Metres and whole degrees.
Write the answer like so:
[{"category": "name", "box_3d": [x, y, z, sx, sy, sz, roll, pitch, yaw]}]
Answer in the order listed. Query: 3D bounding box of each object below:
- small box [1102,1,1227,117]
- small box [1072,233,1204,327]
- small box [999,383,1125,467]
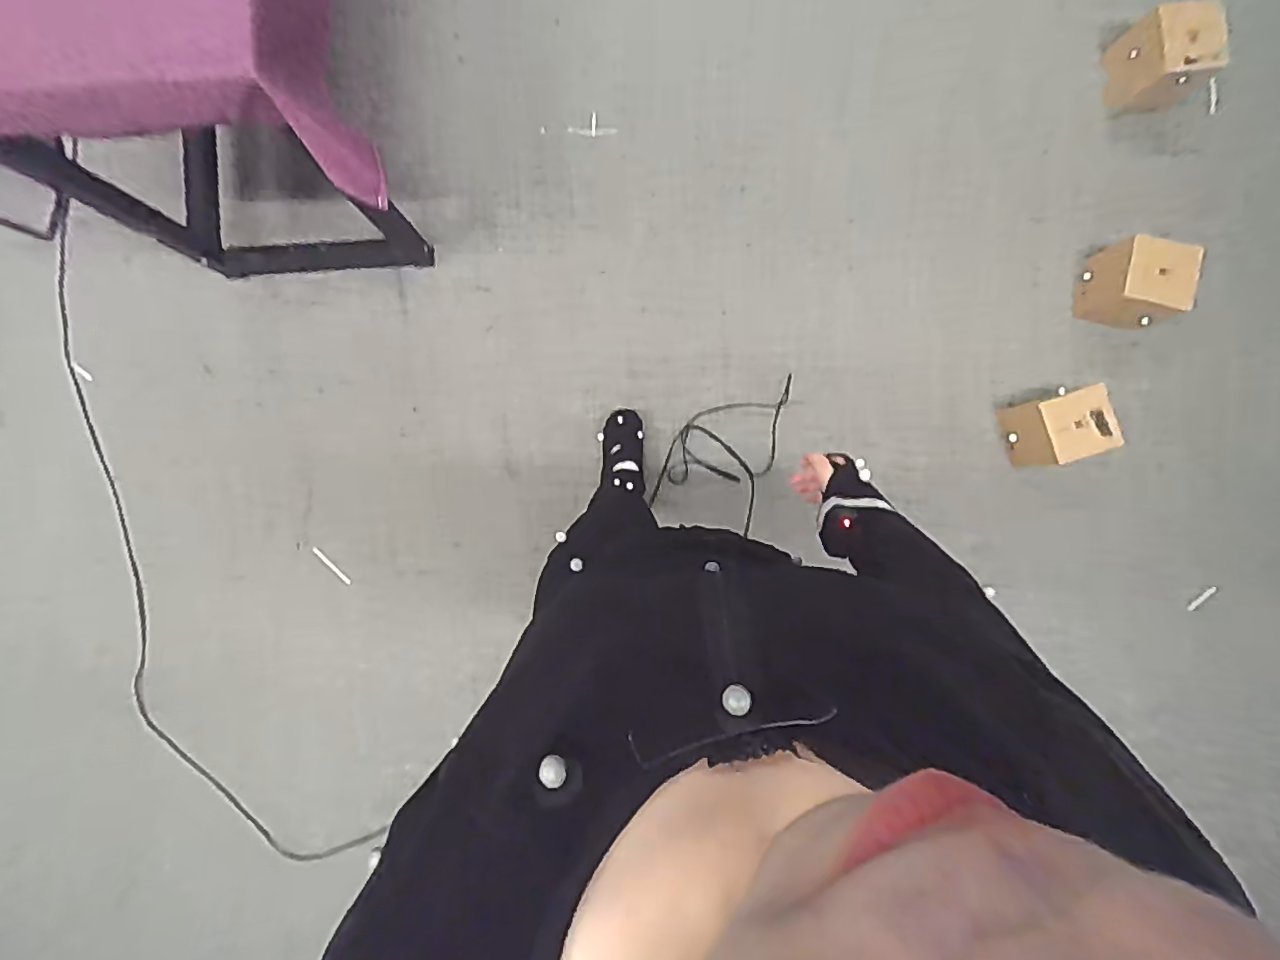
[{"category": "small box", "box_3d": [1.382, -1.112, 1.438, 0.168, 0.176, 0.179, -7, 88, 0]}, {"category": "small box", "box_3d": [1.305, -0.518, 1.426, 0.179, 0.176, 0.168, 13, 88, 0]}, {"category": "small box", "box_3d": [1.096, -0.139, 1.417, 0.179, 0.176, 0.168, -19, 88, 0]}]
